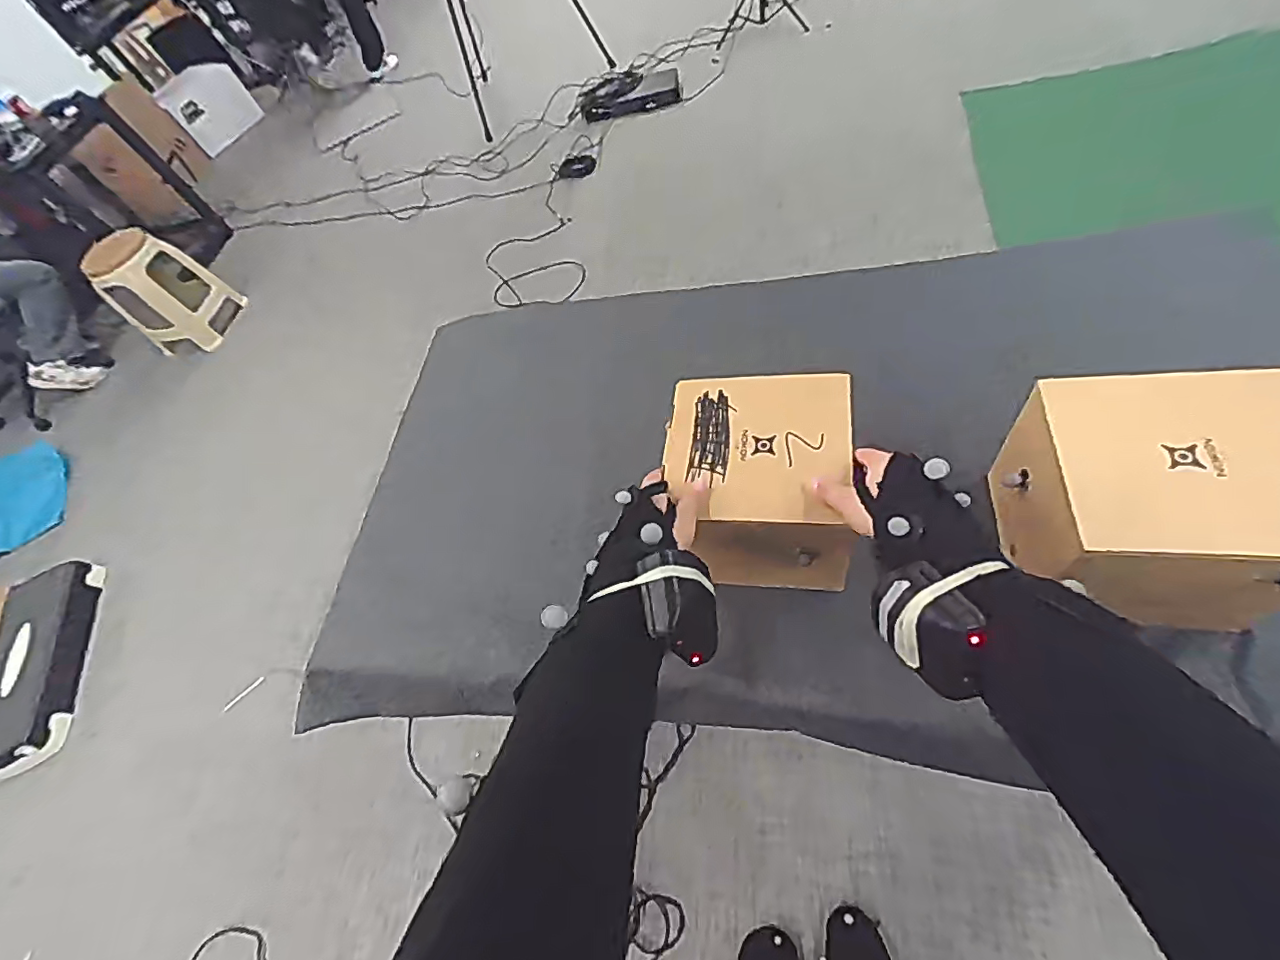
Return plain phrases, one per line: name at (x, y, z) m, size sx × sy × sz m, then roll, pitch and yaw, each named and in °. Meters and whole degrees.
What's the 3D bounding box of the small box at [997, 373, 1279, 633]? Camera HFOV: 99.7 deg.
small box at (0.438, 0.027, 0.474) m, size 0.179 × 0.176 × 0.168 m, roll 0°, pitch 60°, yaw 17°
